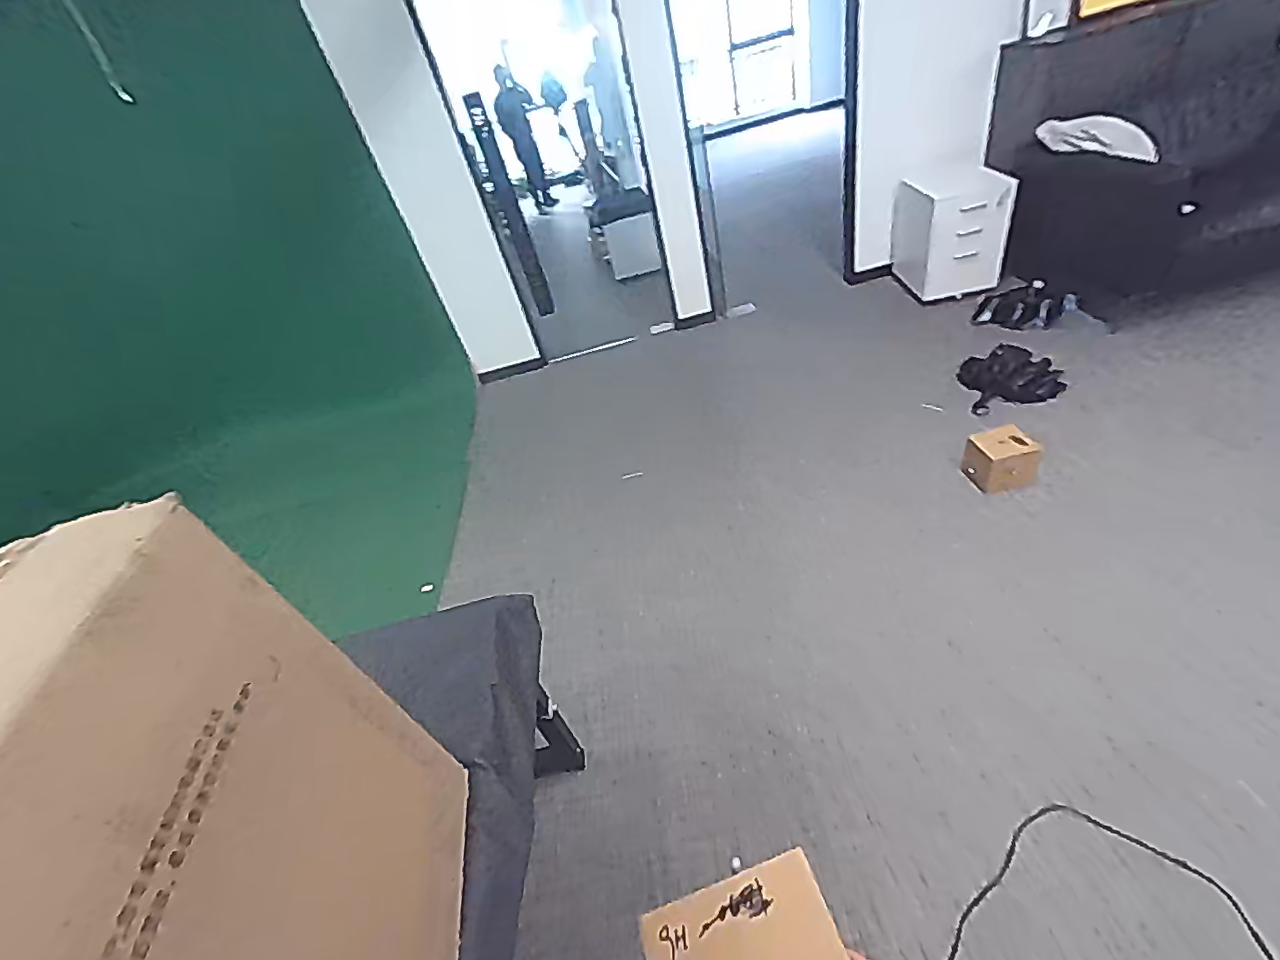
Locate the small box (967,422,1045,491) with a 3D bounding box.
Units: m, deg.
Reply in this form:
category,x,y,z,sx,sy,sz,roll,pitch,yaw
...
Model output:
category,x,y,z,sx,sy,sz,roll,pitch,yaw
small box,1.363,-0.087,2.029,0.179,0.176,0.168,-15,38,5
